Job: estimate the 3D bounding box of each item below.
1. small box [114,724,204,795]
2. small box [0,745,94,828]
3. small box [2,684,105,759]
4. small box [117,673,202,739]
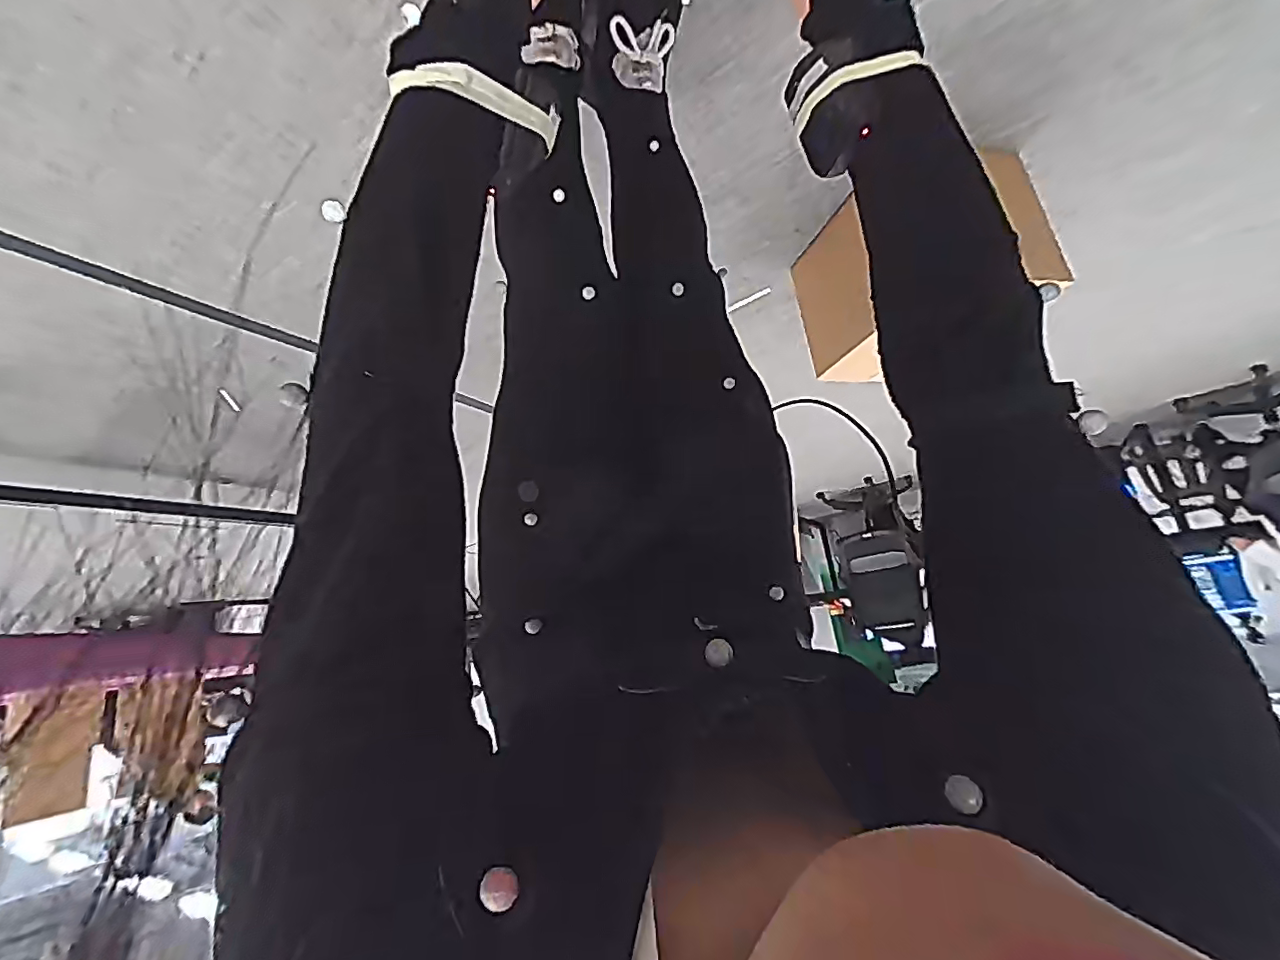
[{"bbox_3d":[-1.517,0.880,1.711,0.179,0.176,0.168,-19,161,27],"label":"small box"},{"bbox_3d":[-1.669,0.848,1.515,0.179,0.176,0.168,-20,161,32],"label":"small box"},{"bbox_3d":[-1.687,0.693,1.561,0.179,0.176,0.168,-19,162,29],"label":"small box"},{"bbox_3d":[-1.544,0.722,1.742,0.179,0.176,0.168,-18,161,30],"label":"small box"}]
